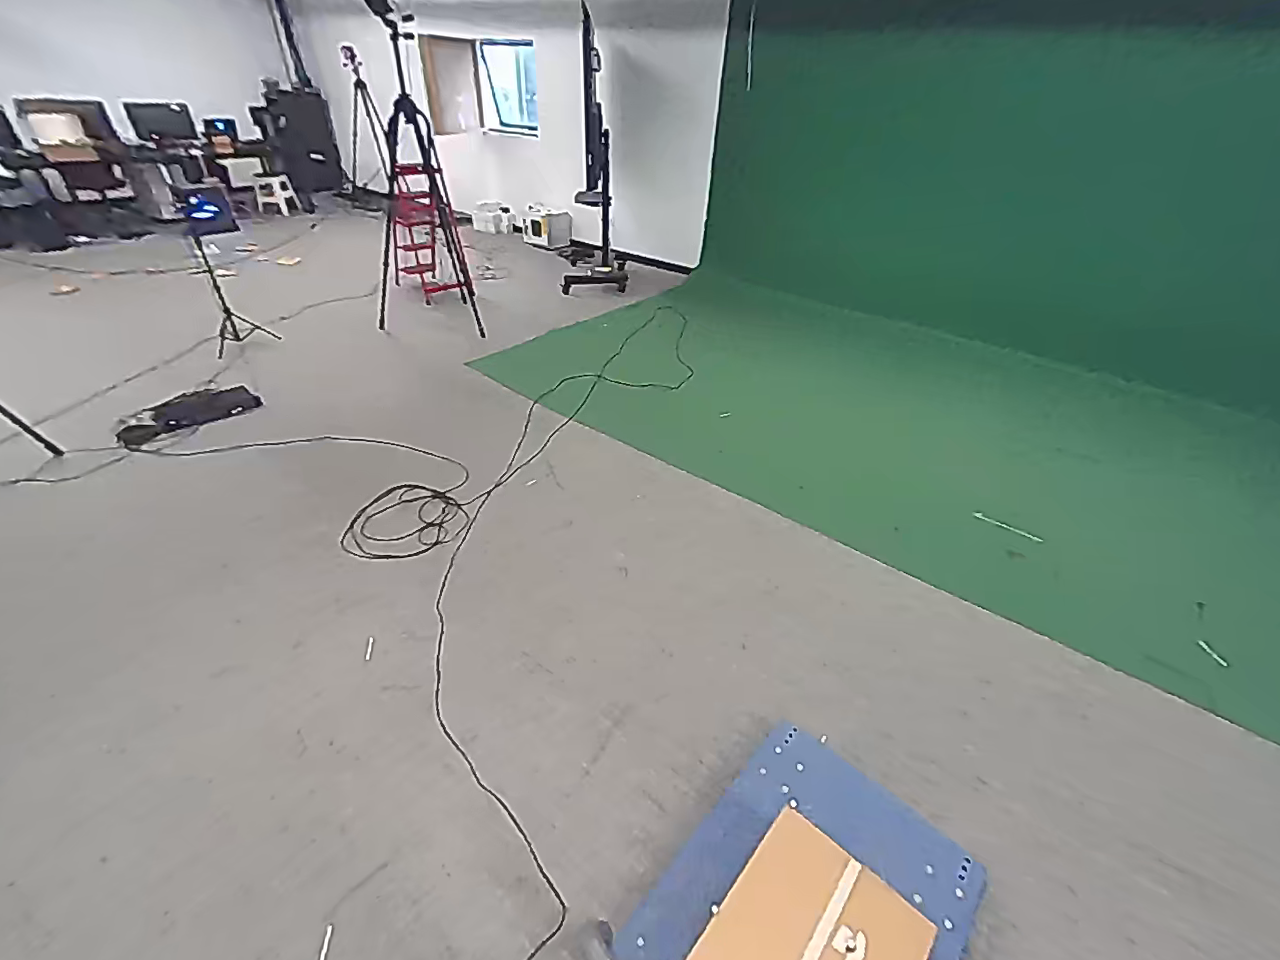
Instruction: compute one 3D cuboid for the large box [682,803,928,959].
[{"bbox_3d":[0.276,0.945,1.024,0.320,0.320,0.408,31,44,31],"label":"large box"}]
